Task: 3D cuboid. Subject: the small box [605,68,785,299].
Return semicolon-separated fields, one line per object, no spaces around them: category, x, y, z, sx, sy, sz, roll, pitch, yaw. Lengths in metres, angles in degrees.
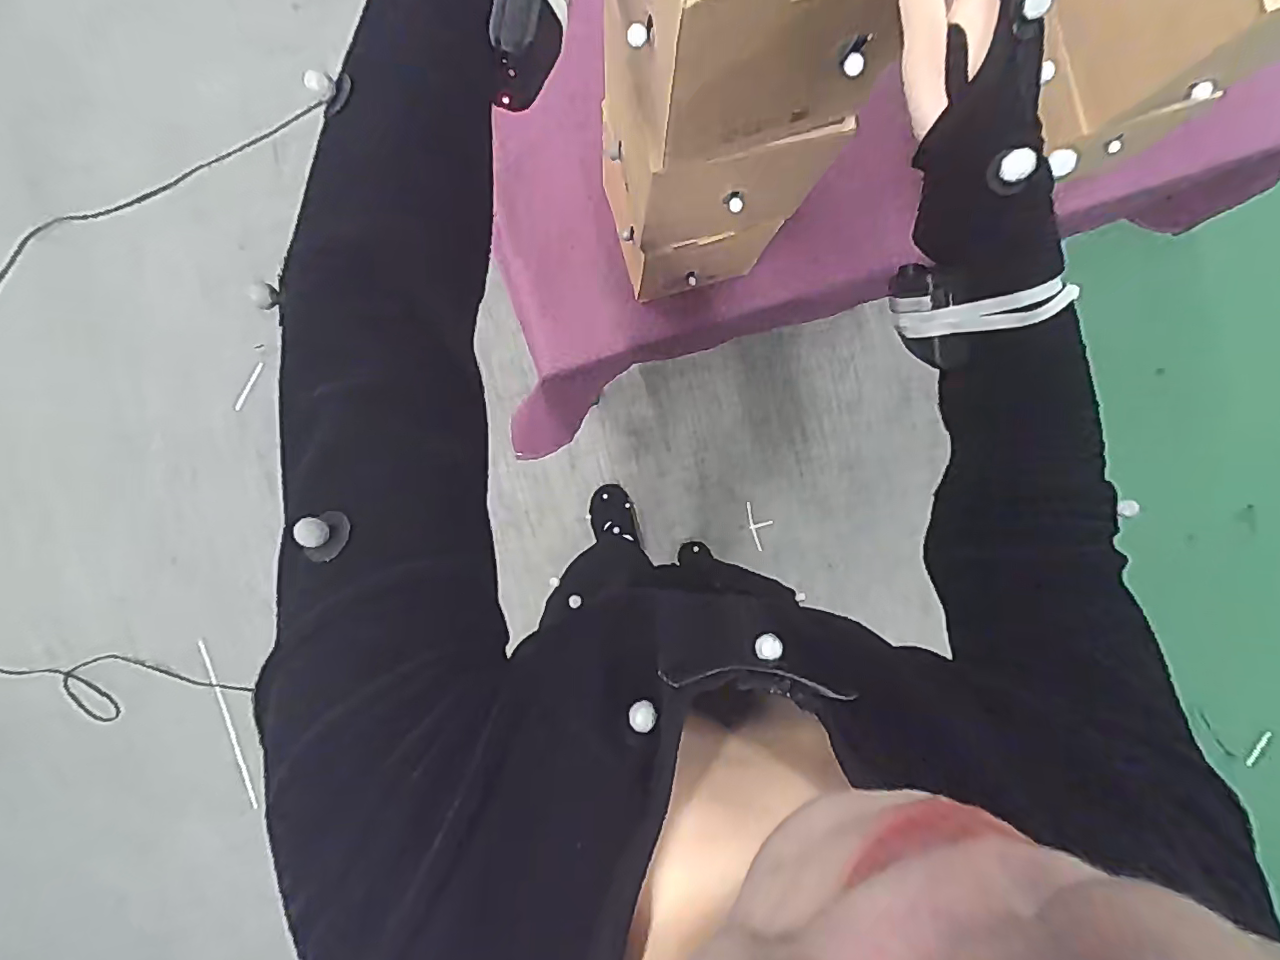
small box;0.056;-0.352;0.673;0.168;0.176;0.179;-17;94;-3

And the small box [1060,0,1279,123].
small box;0.561;-0.503;0.530;0.168;0.176;0.179;-19;94;-2

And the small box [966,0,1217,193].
small box;0.555;-0.502;0.695;0.179;0.176;0.168;-17;93;-2
